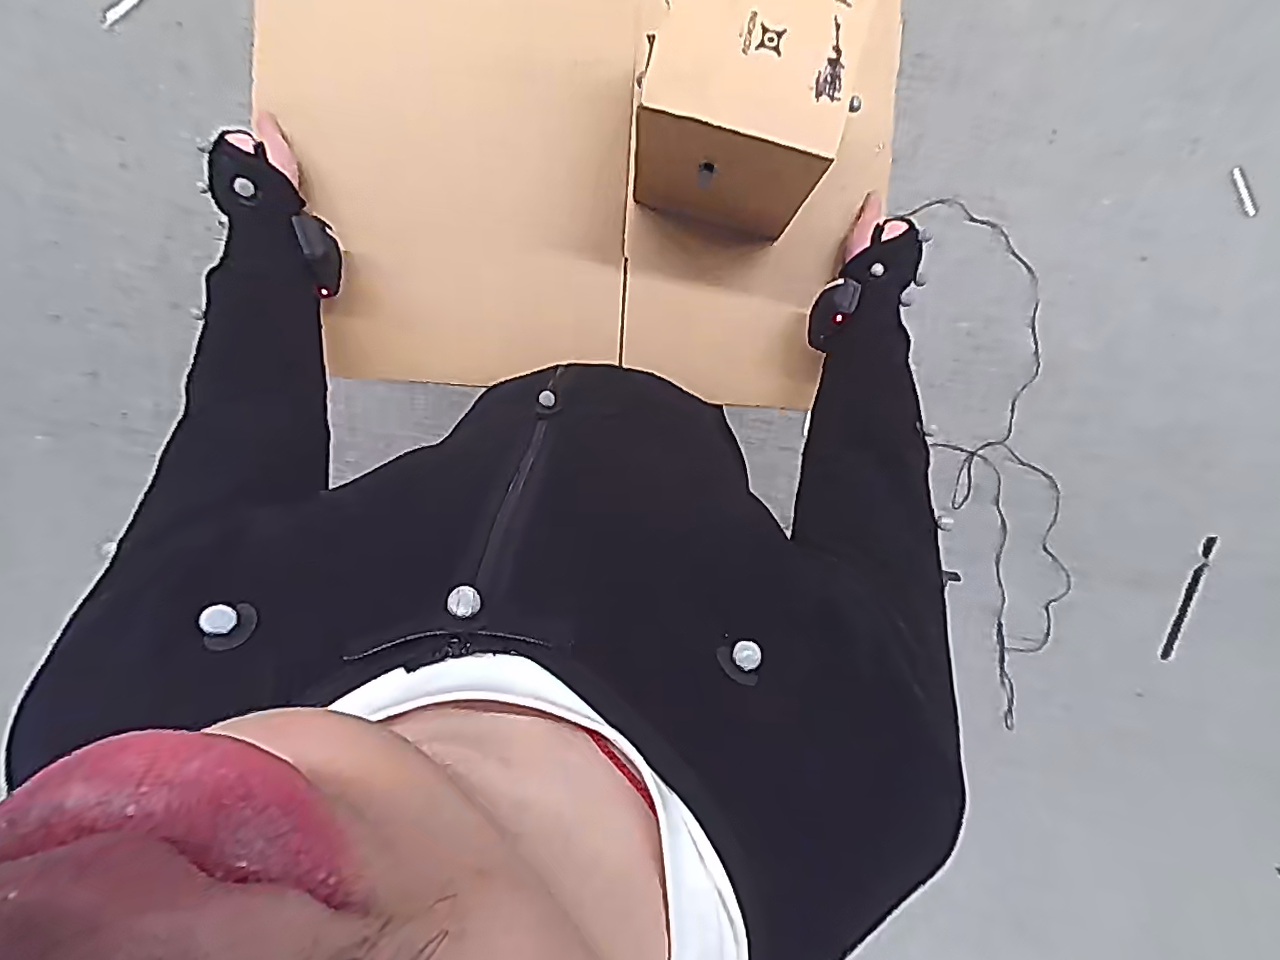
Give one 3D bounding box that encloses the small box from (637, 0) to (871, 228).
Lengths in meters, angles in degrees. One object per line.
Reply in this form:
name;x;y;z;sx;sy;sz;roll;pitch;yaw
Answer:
small box;0.099;-0.379;0.538;0.179;0.176;0.168;14;92;-2
